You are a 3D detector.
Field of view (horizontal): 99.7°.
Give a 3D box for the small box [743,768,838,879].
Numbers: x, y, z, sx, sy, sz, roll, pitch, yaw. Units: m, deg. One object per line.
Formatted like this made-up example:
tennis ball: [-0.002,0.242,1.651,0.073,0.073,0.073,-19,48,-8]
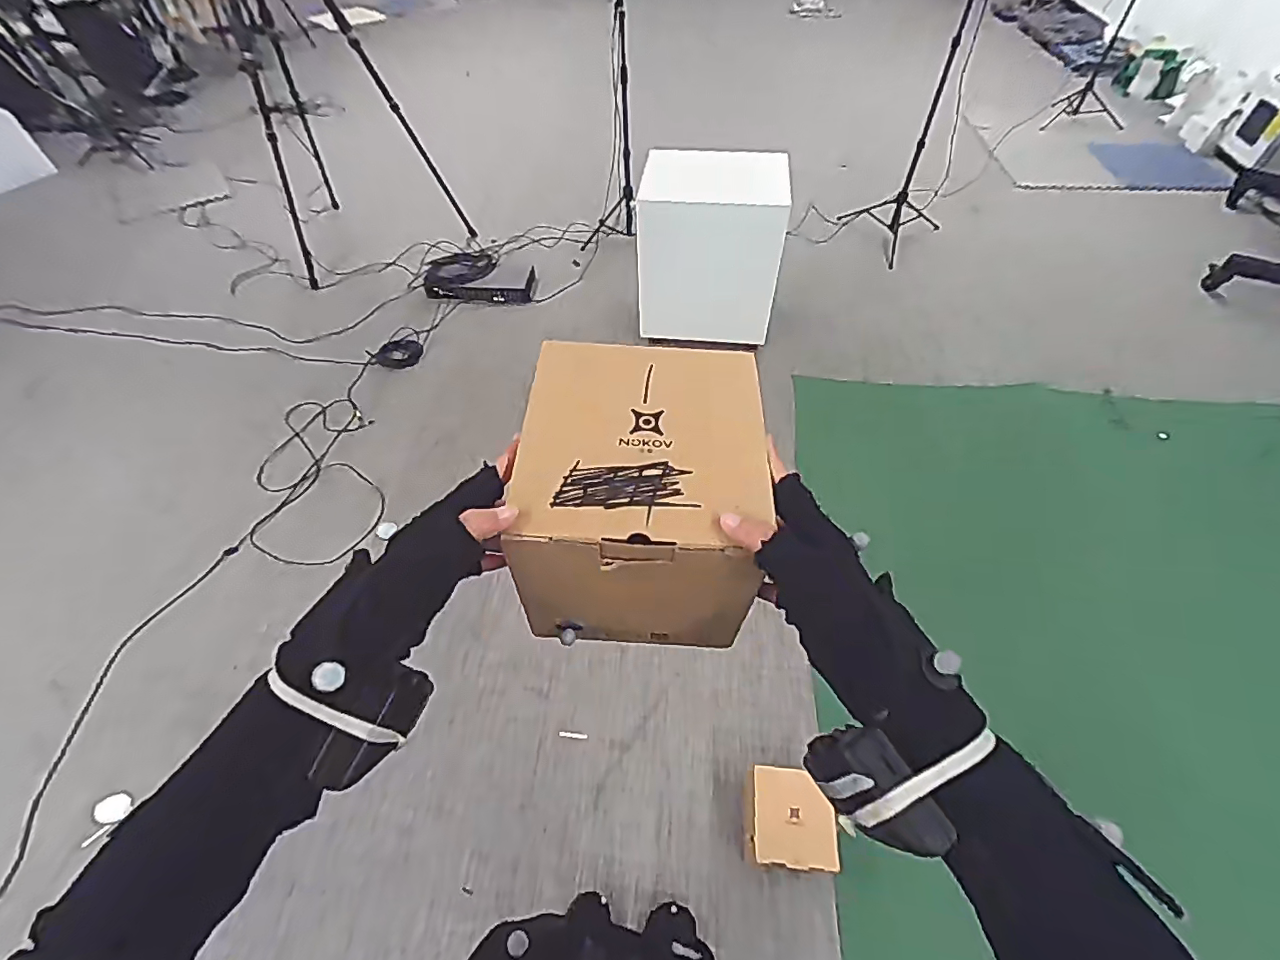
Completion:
small box: [0.316,0.747,1.173,0.168,0.176,0.179,4,53,5]
